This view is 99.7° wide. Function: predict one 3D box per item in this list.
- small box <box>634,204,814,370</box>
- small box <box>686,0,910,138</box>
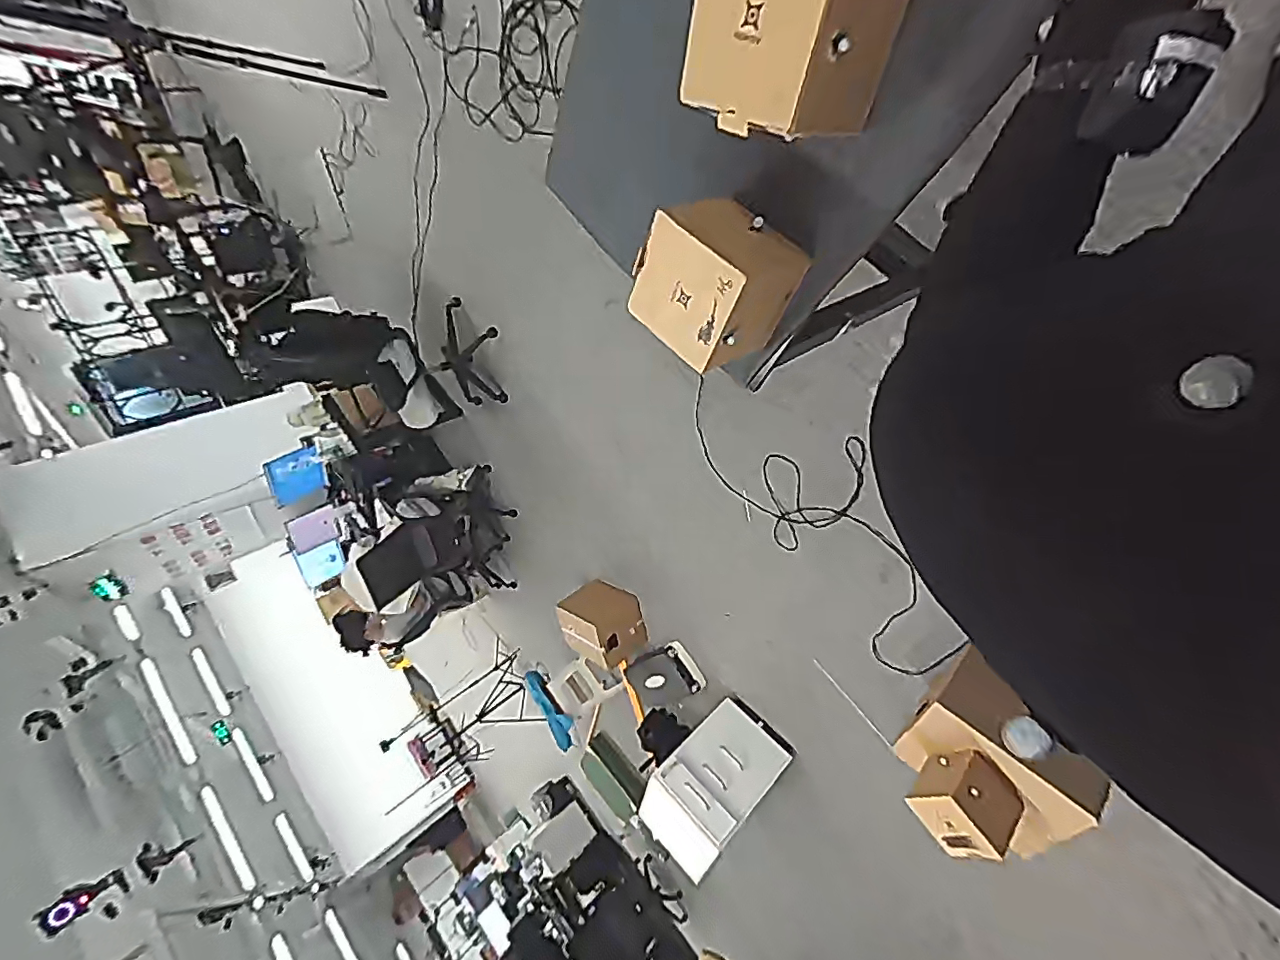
[{"bbox_3d":[0.124,-0.300,0.827,0.179,0.176,0.168,46,143,19],"label":"small box"},{"bbox_3d":[0.180,-0.511,0.616,0.168,0.176,0.179,38,138,28],"label":"small box"}]
